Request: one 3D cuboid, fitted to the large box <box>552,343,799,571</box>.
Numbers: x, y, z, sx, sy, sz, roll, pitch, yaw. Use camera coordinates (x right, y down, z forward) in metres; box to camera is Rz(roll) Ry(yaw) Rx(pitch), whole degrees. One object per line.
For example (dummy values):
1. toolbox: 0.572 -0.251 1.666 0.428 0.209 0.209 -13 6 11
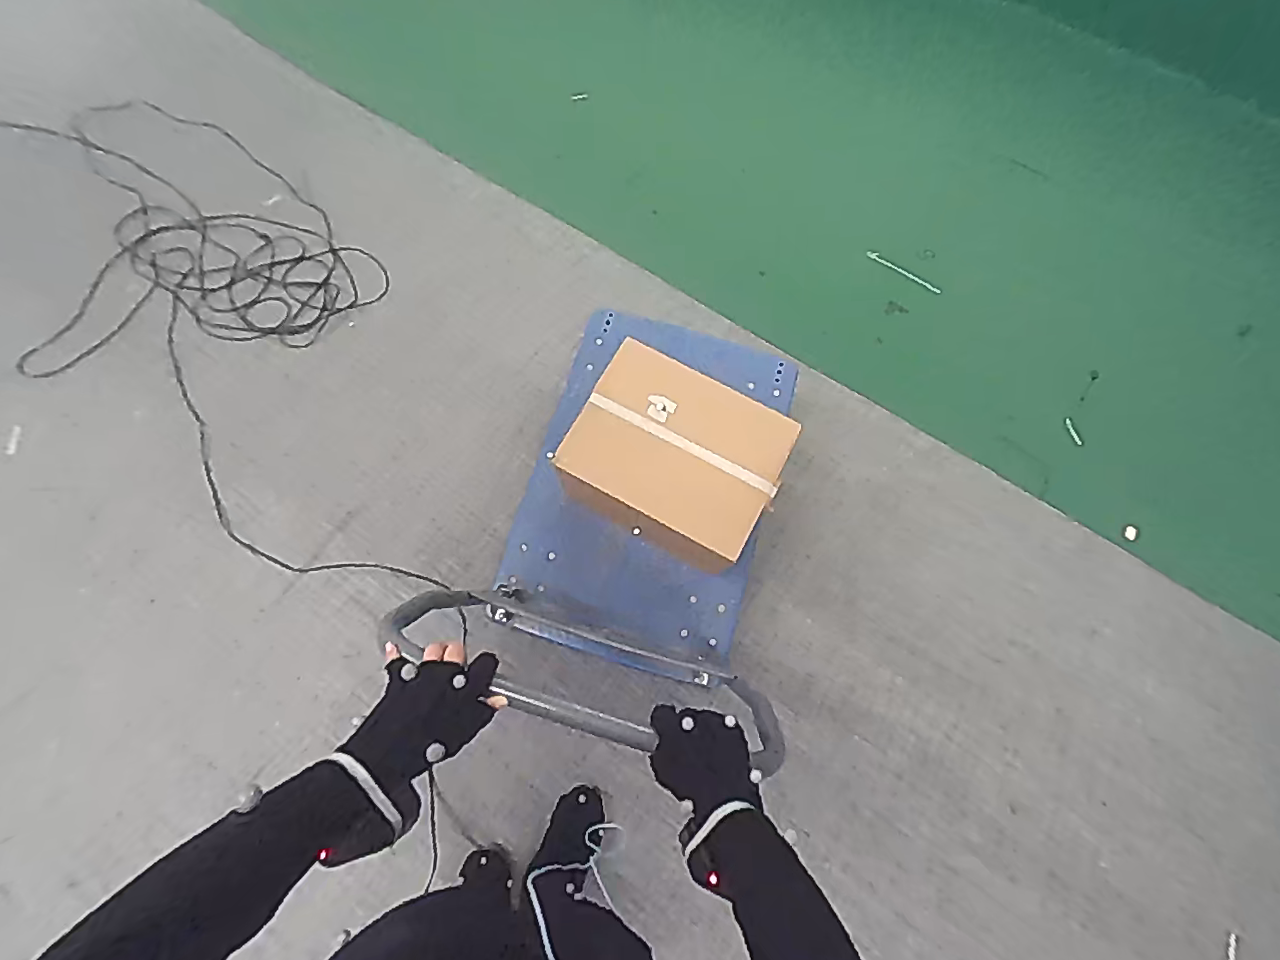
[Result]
1. large box: 0.073 -0.029 1.205 0.408 0.320 0.320 28 76 6
